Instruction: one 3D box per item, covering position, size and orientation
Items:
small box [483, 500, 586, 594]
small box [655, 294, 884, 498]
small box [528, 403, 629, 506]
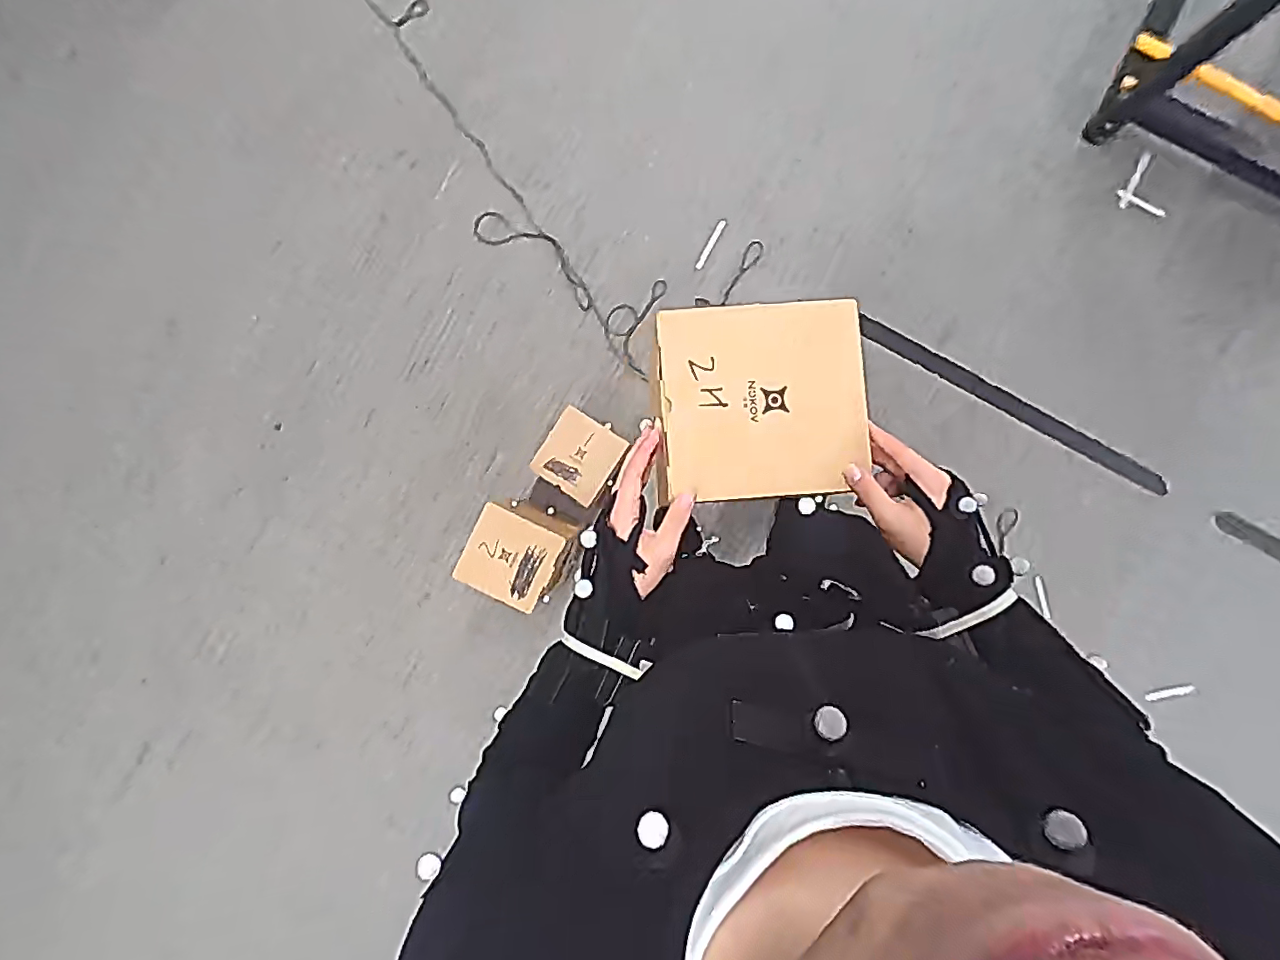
[{"bbox_3d":[-0.241,0.152,1.283,0.179,0.176,0.168,20,90,0],"label":"small box"},{"bbox_3d":[0.110,-0.069,0.526,0.179,0.176,0.168,-3,87,-1],"label":"small box"},{"bbox_3d":[-0.134,-0.056,1.279,0.168,0.176,0.179,33,90,0],"label":"small box"}]
